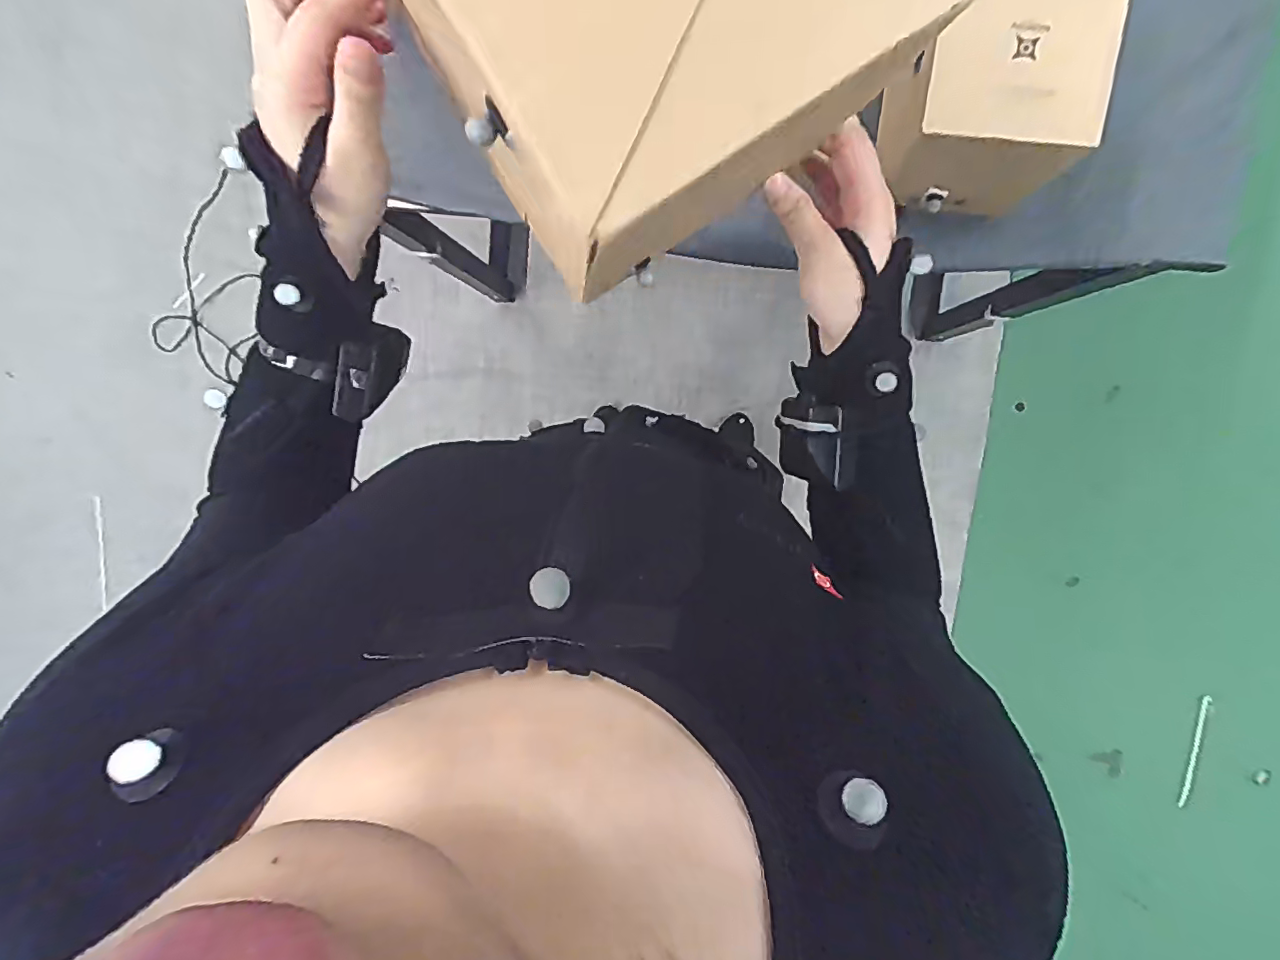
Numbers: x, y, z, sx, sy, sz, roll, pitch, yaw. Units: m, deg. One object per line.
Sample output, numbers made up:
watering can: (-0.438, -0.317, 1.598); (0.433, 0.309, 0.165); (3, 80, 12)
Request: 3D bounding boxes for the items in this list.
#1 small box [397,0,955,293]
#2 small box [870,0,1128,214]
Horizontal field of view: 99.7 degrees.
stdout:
small box: (0.000, -0.211, 0.249); (0.179, 0.176, 0.168); (-33, 104, 0)
small box: (0.367, -0.417, 0.585); (0.168, 0.176, 0.179); (8, 96, 5)
